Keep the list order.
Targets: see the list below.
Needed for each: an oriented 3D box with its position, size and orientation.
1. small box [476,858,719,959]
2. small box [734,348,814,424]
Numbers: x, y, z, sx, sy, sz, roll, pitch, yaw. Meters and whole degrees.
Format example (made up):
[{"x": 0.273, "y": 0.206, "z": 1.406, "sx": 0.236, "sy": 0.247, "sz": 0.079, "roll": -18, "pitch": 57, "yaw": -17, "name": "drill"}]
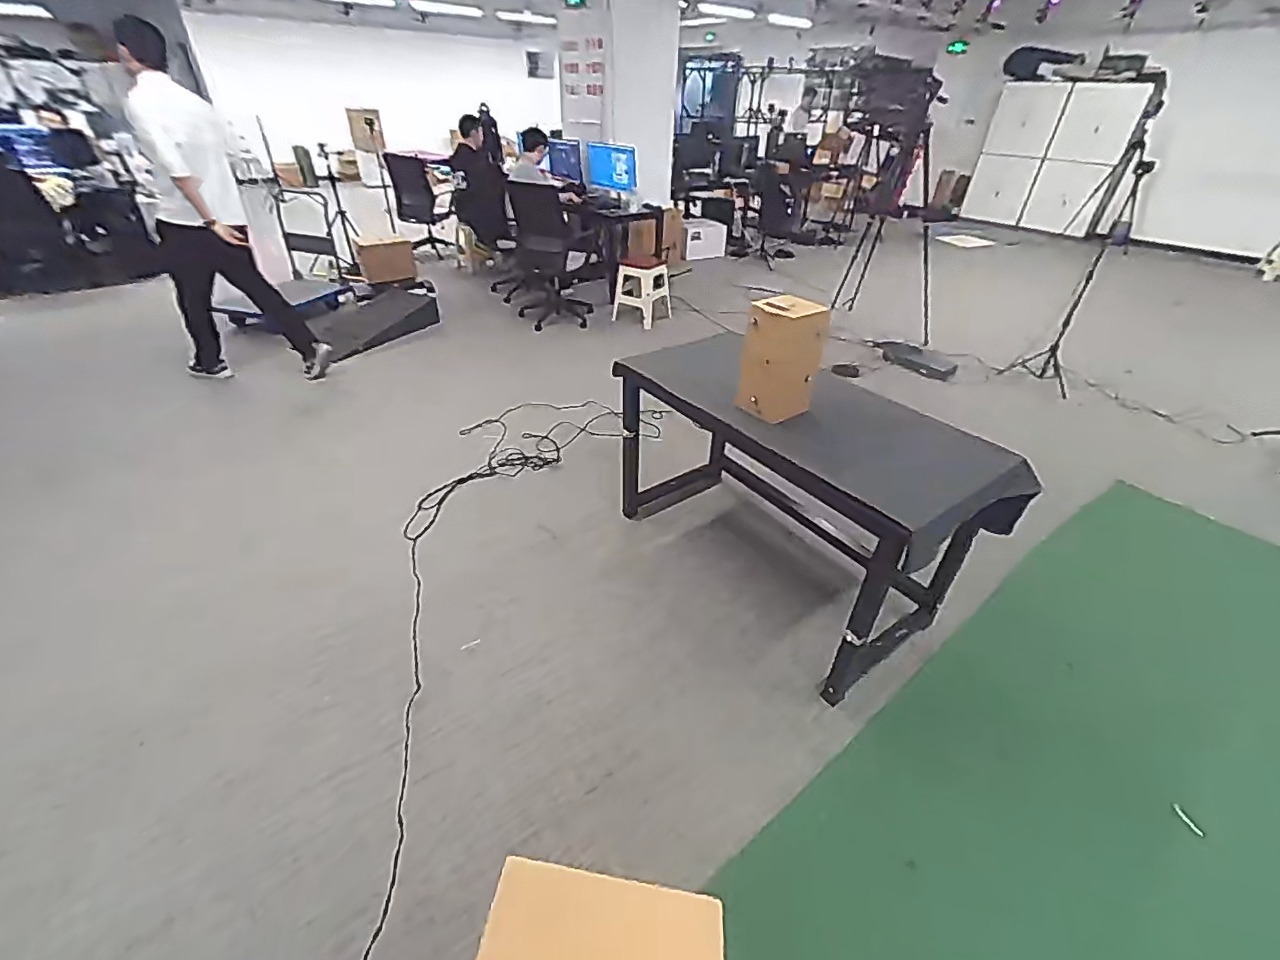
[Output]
[{"x": -0.044, "y": 0.407, "z": 0.362, "sx": 0.168, "sy": 0.176, "sz": 0.179, "roll": 11, "pitch": 24, "yaw": 0, "name": "small box"}, {"x": 0.419, "y": -0.298, "z": 1.715, "sx": 0.179, "sy": 0.176, "sz": 0.168, "roll": -22, "pitch": 41, "yaw": -31, "name": "small box"}]
